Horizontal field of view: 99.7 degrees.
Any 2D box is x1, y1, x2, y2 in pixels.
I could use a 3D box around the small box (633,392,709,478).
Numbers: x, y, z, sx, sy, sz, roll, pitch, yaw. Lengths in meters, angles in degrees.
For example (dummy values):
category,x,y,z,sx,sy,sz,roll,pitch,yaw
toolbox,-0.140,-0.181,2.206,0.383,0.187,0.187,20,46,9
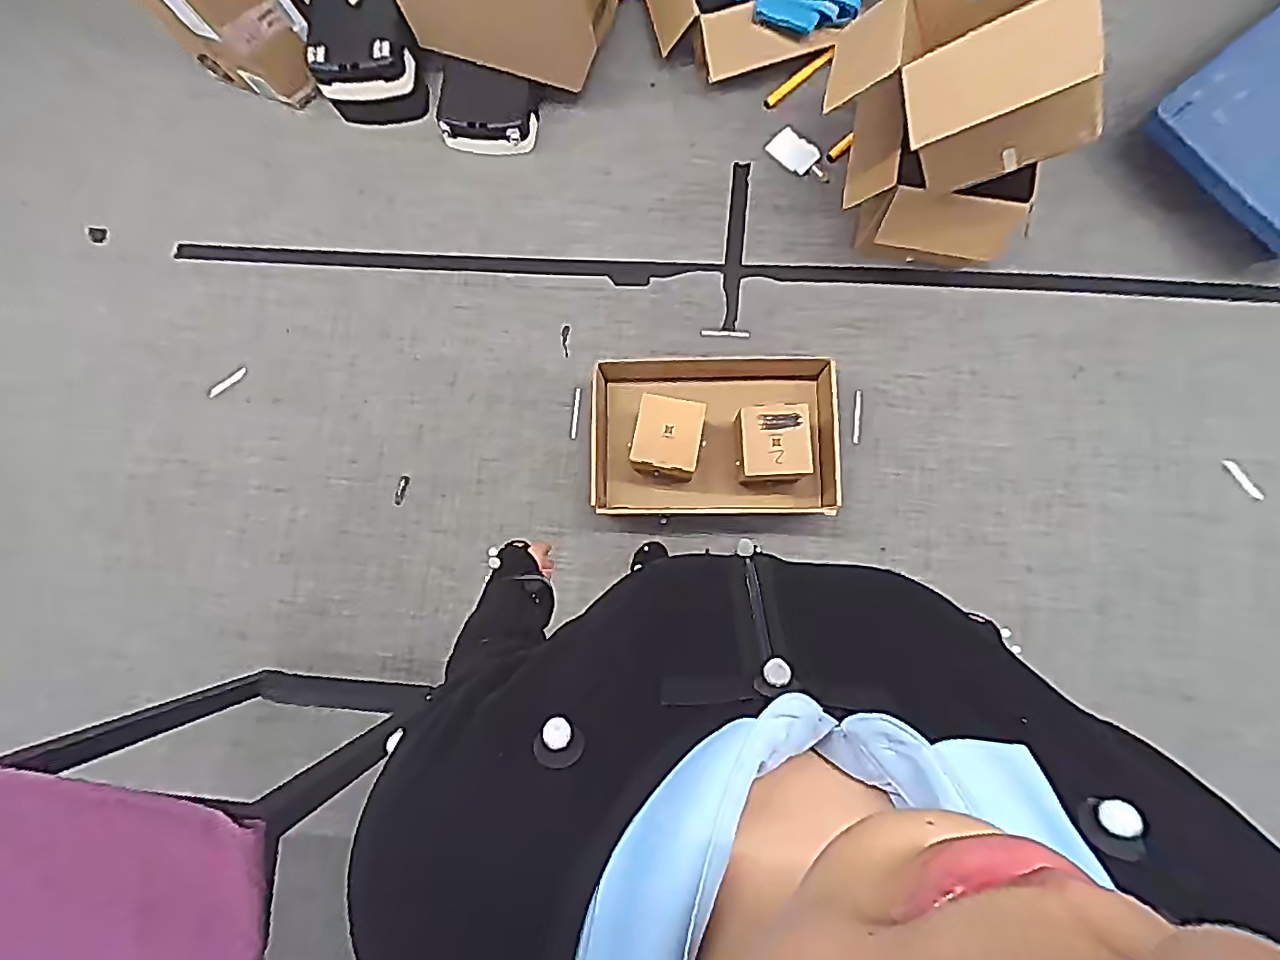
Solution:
category,x,y,z,sx,sy,sz,roll,pitch,yaw
small box,0.078,-0.113,1.417,0.168,0.176,0.179,10,84,4
